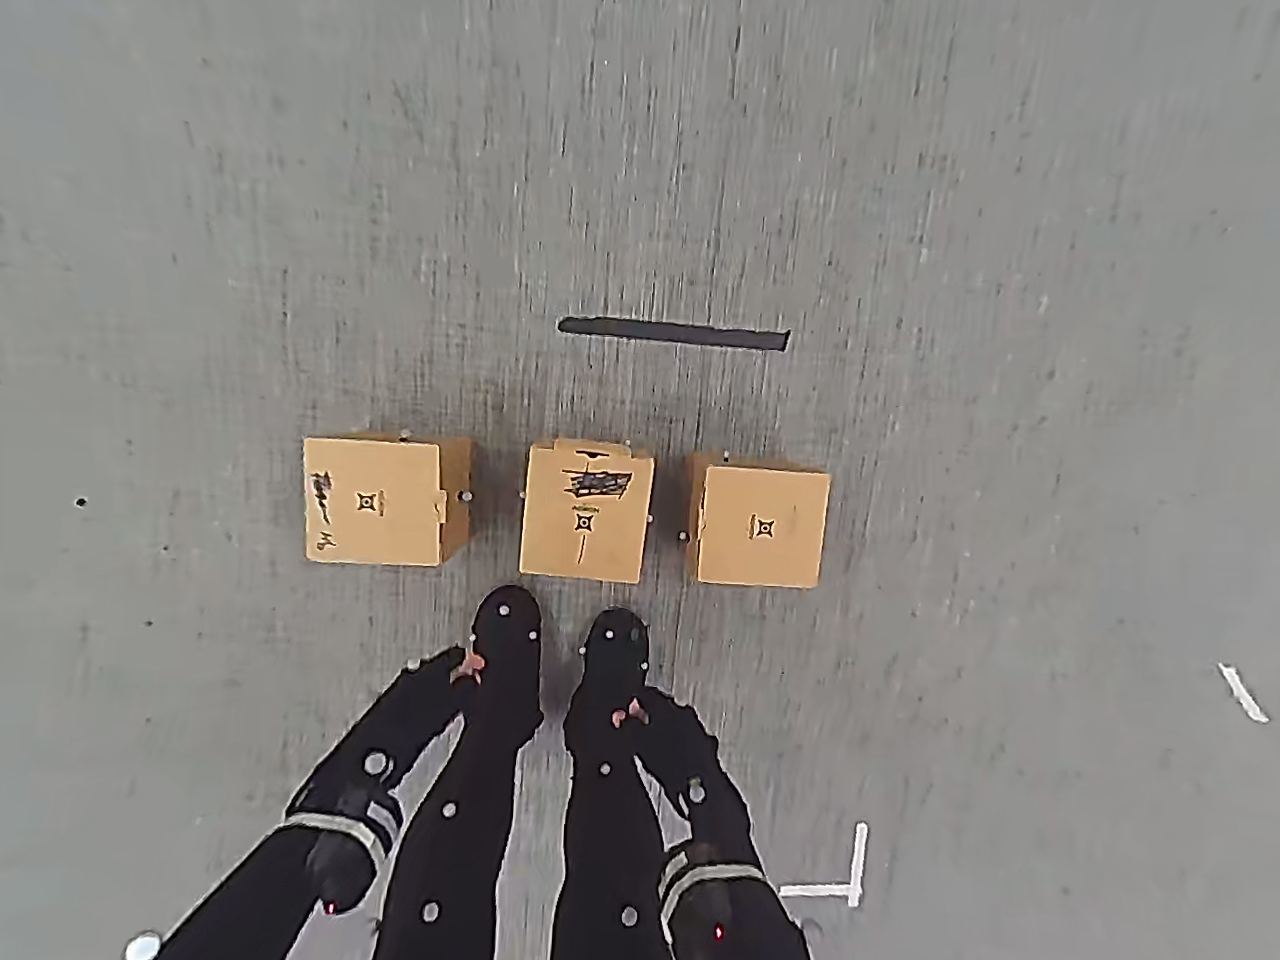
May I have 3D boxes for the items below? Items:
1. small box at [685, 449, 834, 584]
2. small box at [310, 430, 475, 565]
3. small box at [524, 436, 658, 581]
[{"bbox_3d":[0.167,0.047,0.818,0.179,0.176,0.168,3,100,-4],"label":"small box"},{"bbox_3d":[-0.344,0.017,0.784,0.179,0.176,0.168,3,98,-4],"label":"small box"},{"bbox_3d":[-0.071,0.033,0.800,0.168,0.176,0.179,6,99,-4],"label":"small box"}]
